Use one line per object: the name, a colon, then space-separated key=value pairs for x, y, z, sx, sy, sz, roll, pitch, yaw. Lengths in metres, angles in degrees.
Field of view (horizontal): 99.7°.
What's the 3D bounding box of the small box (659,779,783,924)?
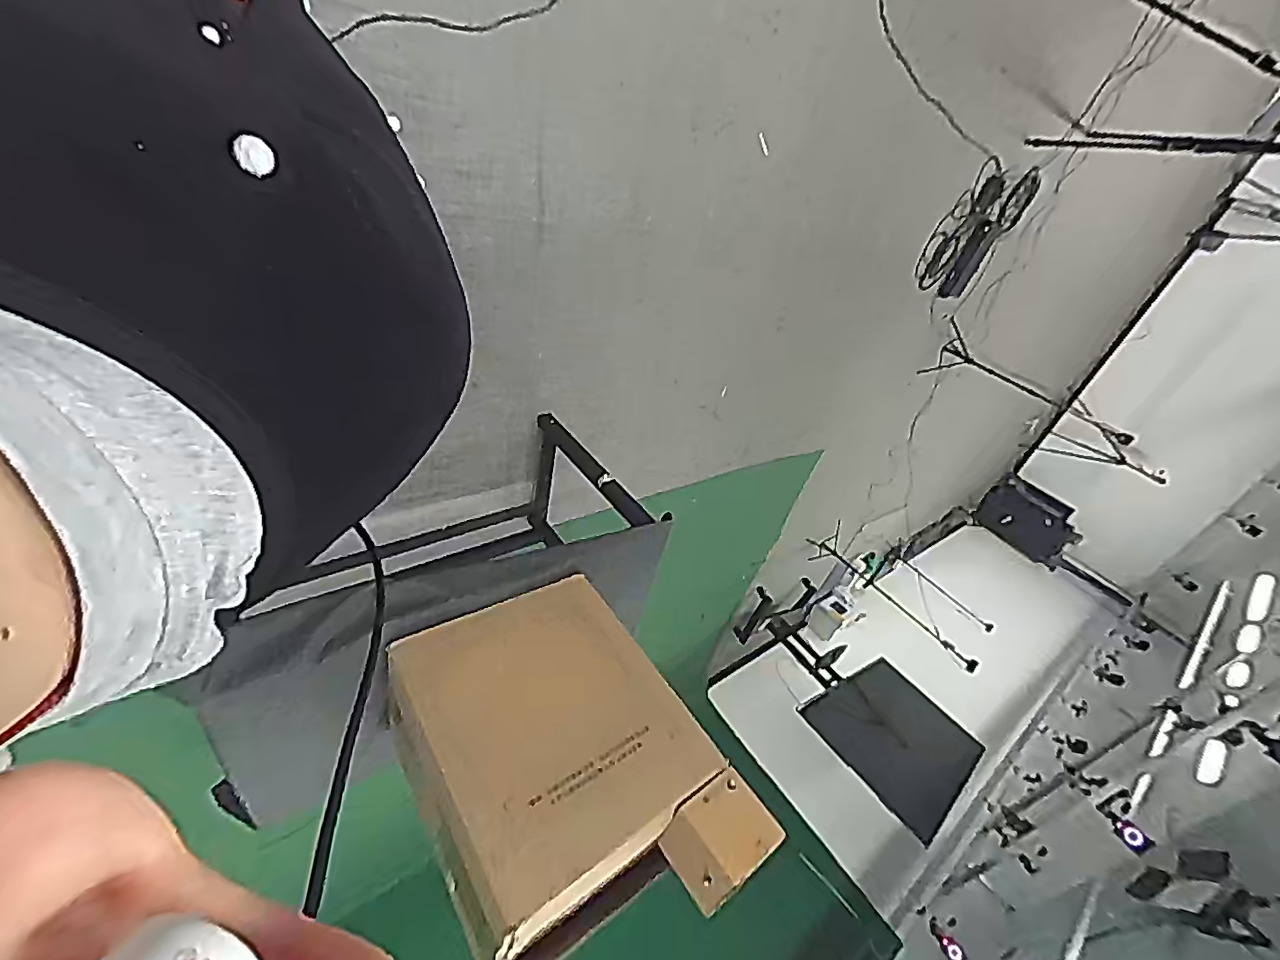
small box: x=0.164 y=0.775 z=1.149 sx=0.168 sy=0.176 sz=0.179 roll=-14 pitch=136 yaw=-39
